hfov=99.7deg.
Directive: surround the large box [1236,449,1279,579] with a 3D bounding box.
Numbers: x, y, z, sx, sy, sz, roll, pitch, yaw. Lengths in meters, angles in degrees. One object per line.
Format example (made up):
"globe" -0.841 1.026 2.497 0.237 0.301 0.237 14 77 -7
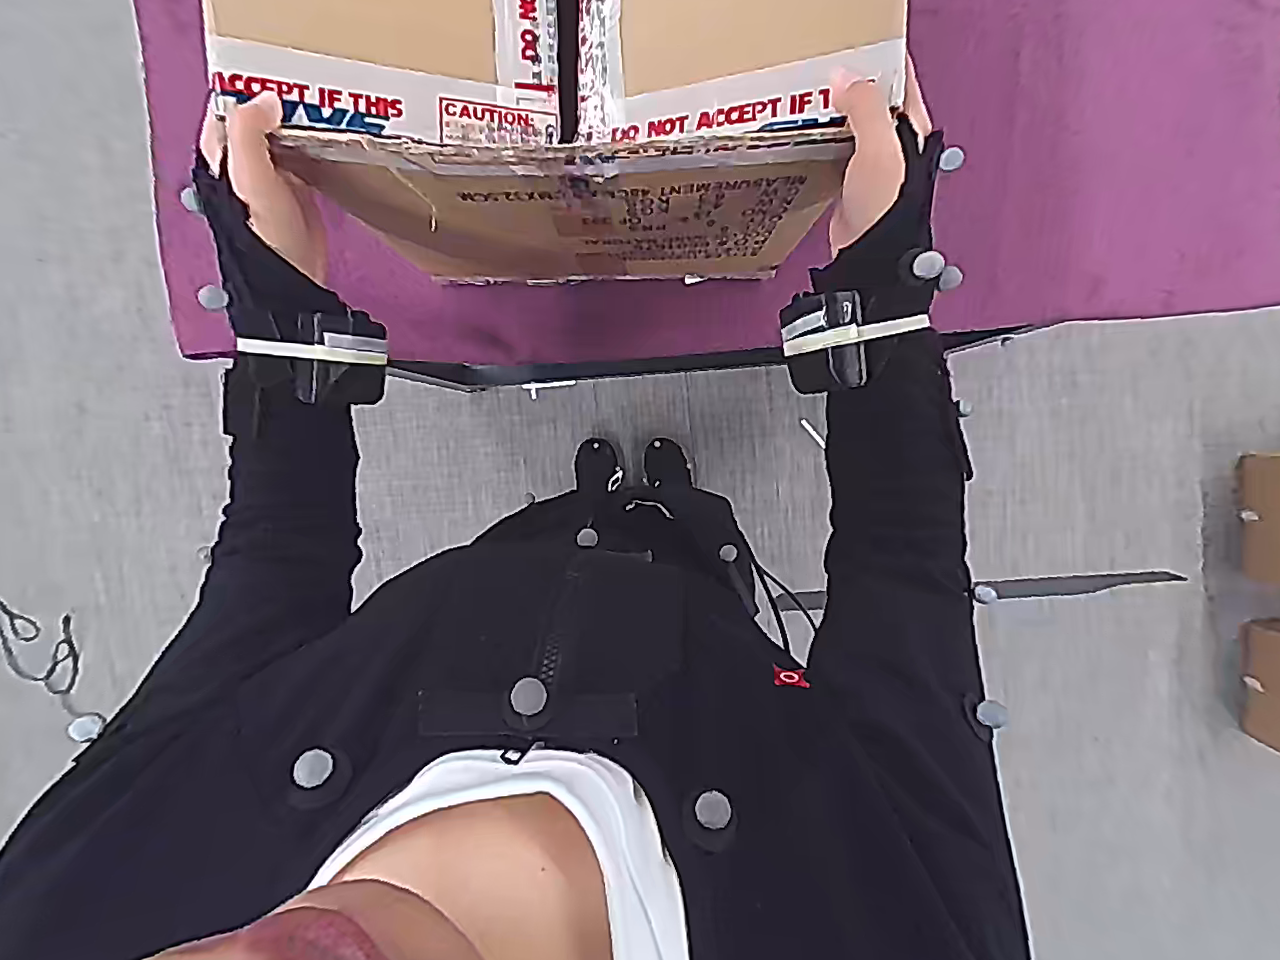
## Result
"large box" 1.700 0.075 1.208 0.408 0.320 0.320 -5 94 2
